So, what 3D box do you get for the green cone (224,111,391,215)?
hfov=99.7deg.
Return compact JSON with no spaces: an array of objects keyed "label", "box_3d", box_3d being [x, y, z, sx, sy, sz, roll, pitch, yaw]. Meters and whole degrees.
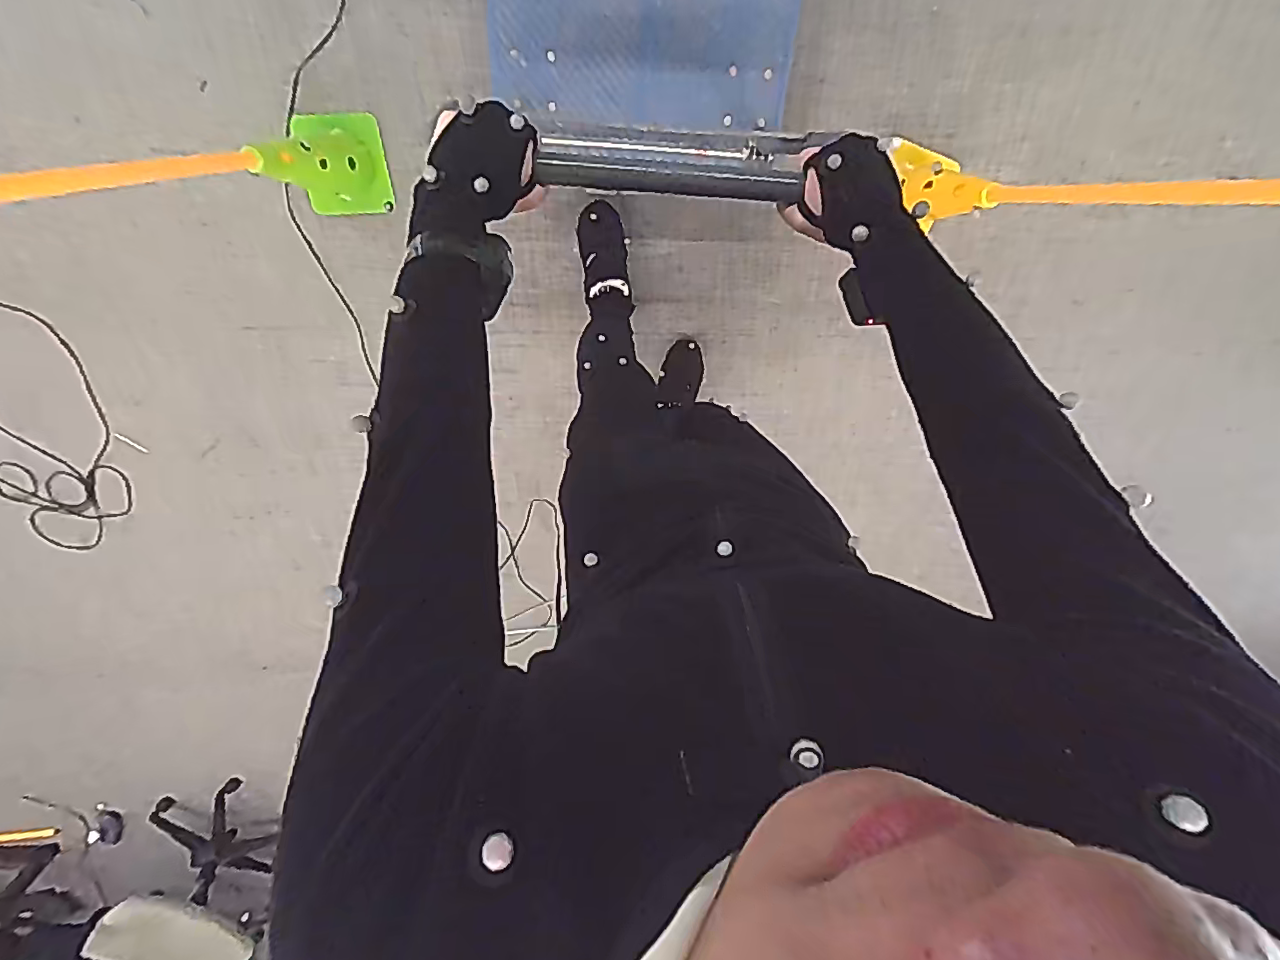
[{"label":"green cone","box_3d":[-0.689,-0.641,1.086,0.202,0.368,0.200,-2,118,2]}]
